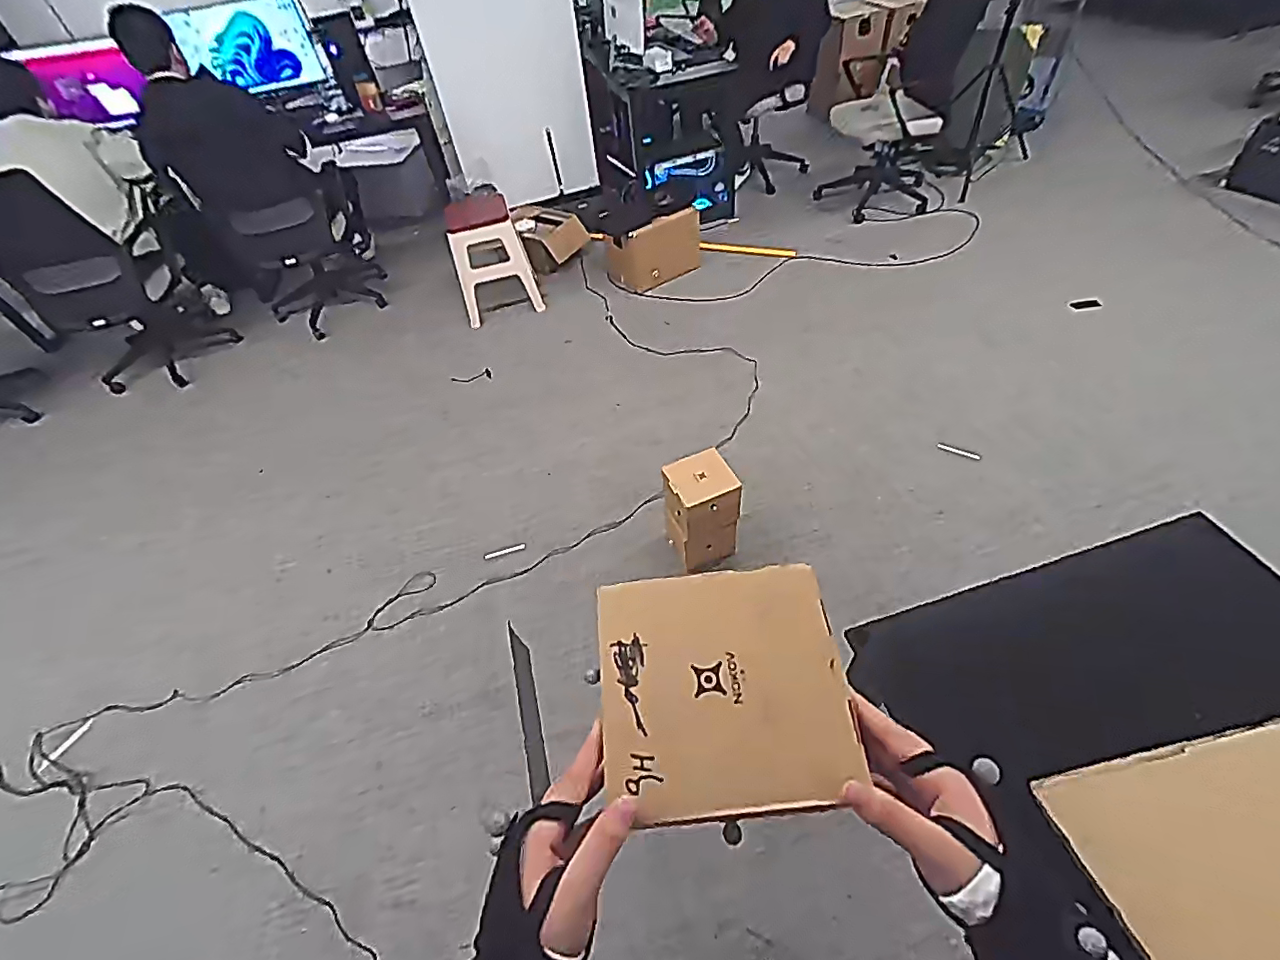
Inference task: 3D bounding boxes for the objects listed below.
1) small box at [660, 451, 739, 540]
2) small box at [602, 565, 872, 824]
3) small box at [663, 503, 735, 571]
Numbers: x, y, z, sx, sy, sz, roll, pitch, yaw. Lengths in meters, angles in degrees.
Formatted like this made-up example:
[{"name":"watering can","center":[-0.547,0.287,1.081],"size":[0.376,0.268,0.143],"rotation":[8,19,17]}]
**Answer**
[{"name":"small box","center":[0.175,0.049,1.587],"size":[0.179,0.176,0.168],"rotation":[-21,51,-11]},{"name":"small box","center":[0.064,0.188,0.461],"size":[0.179,0.176,0.168],"rotation":[-6,55,0]},{"name":"small box","center":[0.185,0.157,1.709],"size":[0.179,0.176,0.168],"rotation":[-20,50,-9]}]
